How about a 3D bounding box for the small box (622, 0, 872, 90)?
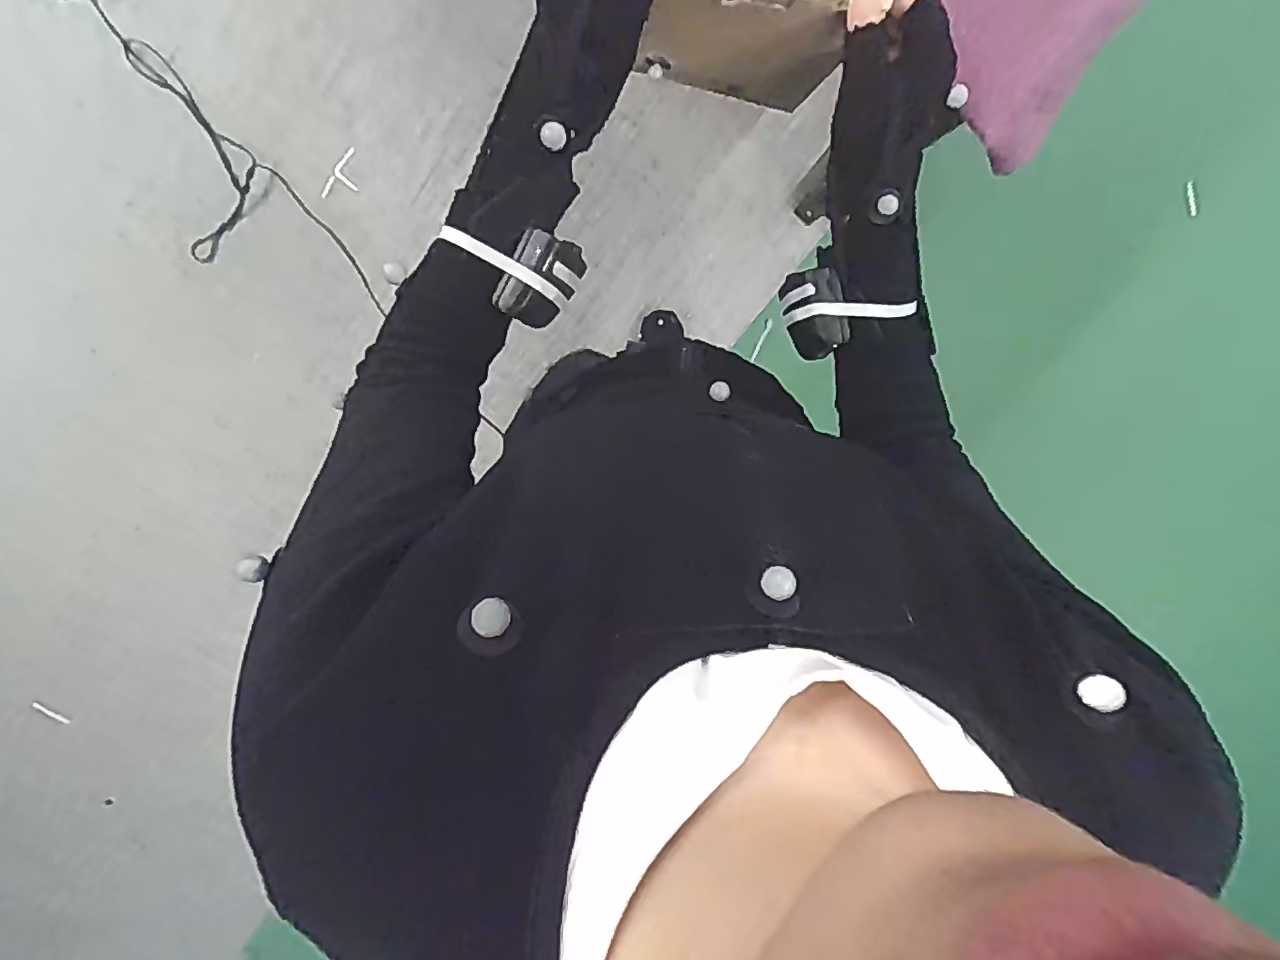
[{"bbox_3d":[0.081,-0.418,0.383,0.168,0.176,0.179,8,105,-8],"label":"small box"}]
